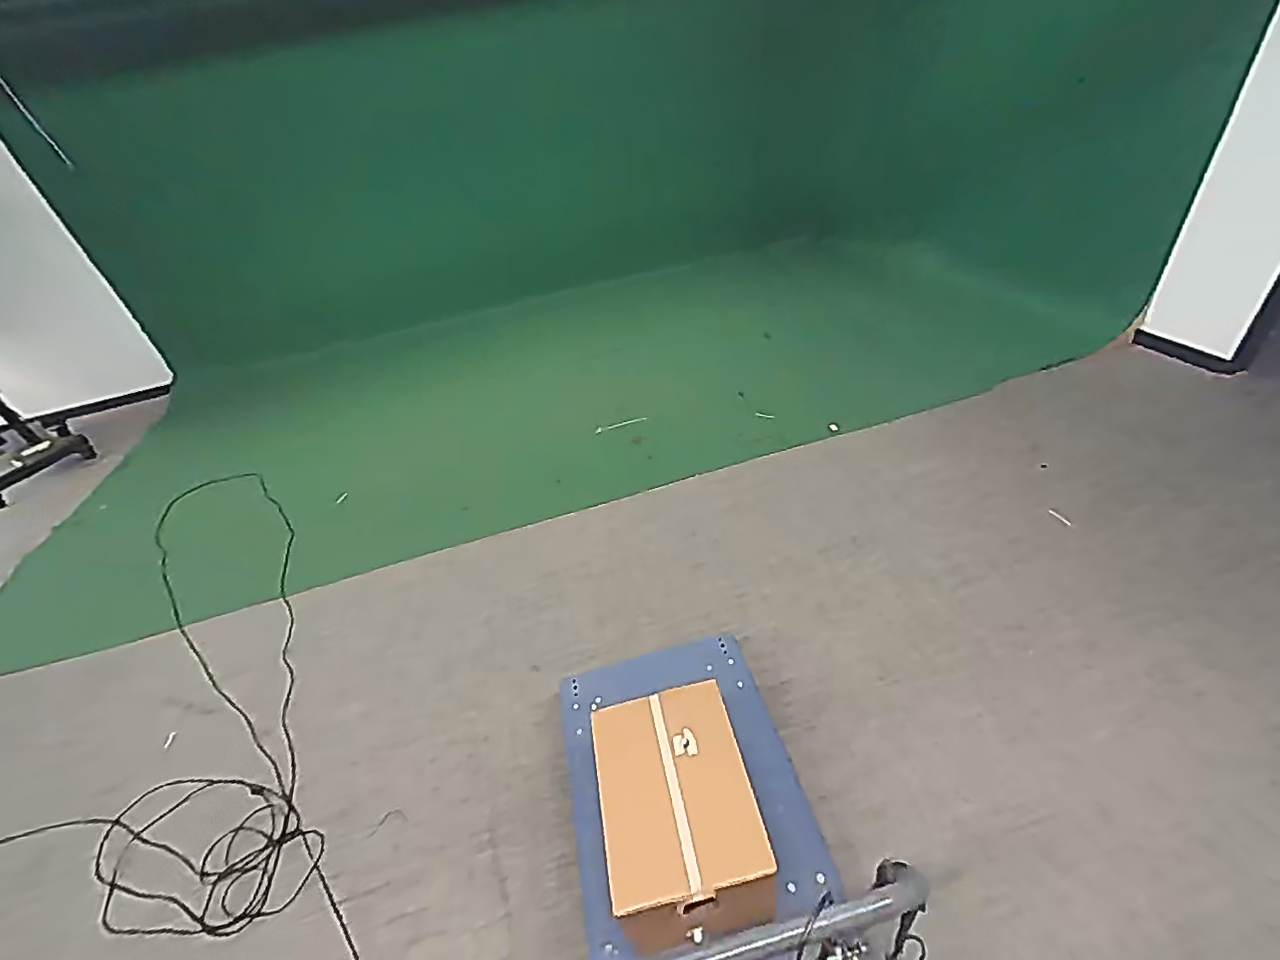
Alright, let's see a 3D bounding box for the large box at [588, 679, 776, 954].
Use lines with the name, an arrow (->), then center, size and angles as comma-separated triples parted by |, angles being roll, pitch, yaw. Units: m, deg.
large box -> 0.086, 0.741, 1.218 | 0.320, 0.320, 0.408 | -13, 37, -3
